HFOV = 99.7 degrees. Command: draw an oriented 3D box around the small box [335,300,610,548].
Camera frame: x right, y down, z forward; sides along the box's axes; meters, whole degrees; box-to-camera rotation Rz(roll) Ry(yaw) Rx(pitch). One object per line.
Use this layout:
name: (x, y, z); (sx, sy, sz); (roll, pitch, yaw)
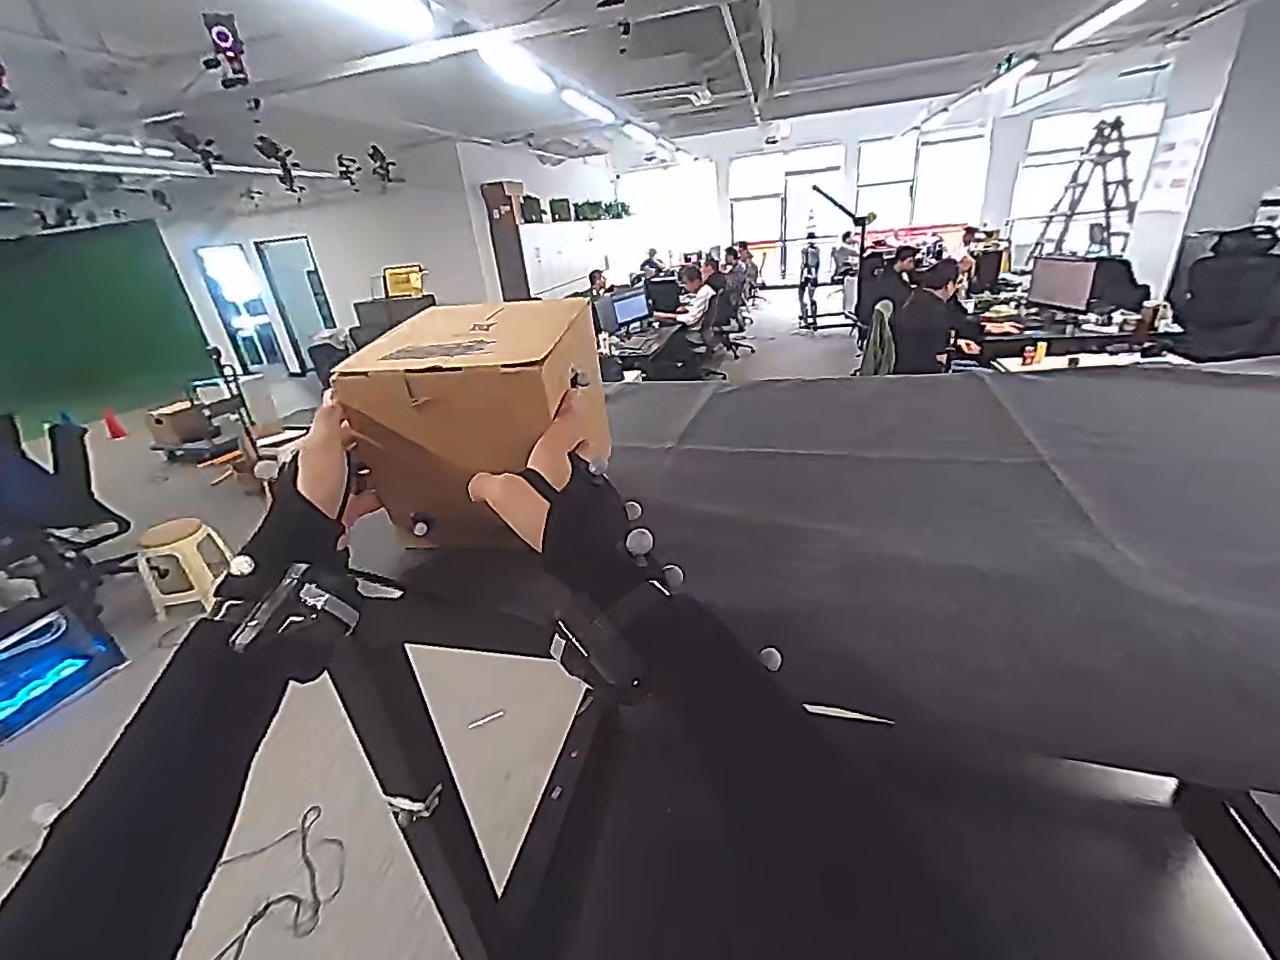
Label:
small box: (-0.127, -0.052, 0.496); (0.168, 0.176, 0.179); (-1, 33, 9)
